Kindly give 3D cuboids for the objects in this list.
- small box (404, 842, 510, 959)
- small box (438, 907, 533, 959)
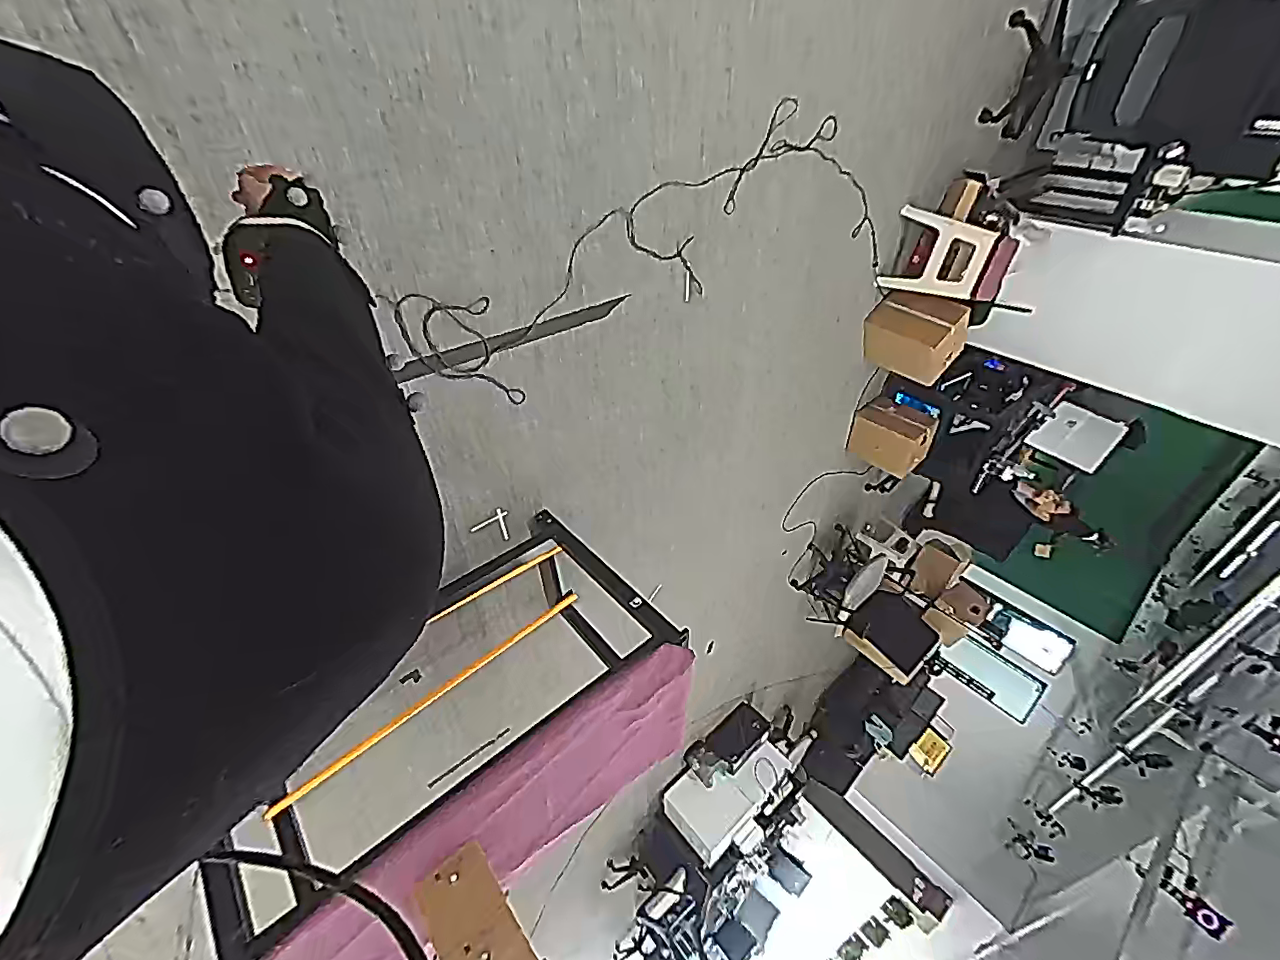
[{"bbox_3d":[-0.424,0.998,1.266,0.168,0.176,0.179,-28,136,-32],"label":"small box"},{"bbox_3d":[-0.319,1.077,1.167,0.168,0.176,0.179,-29,137,-32],"label":"small box"}]
